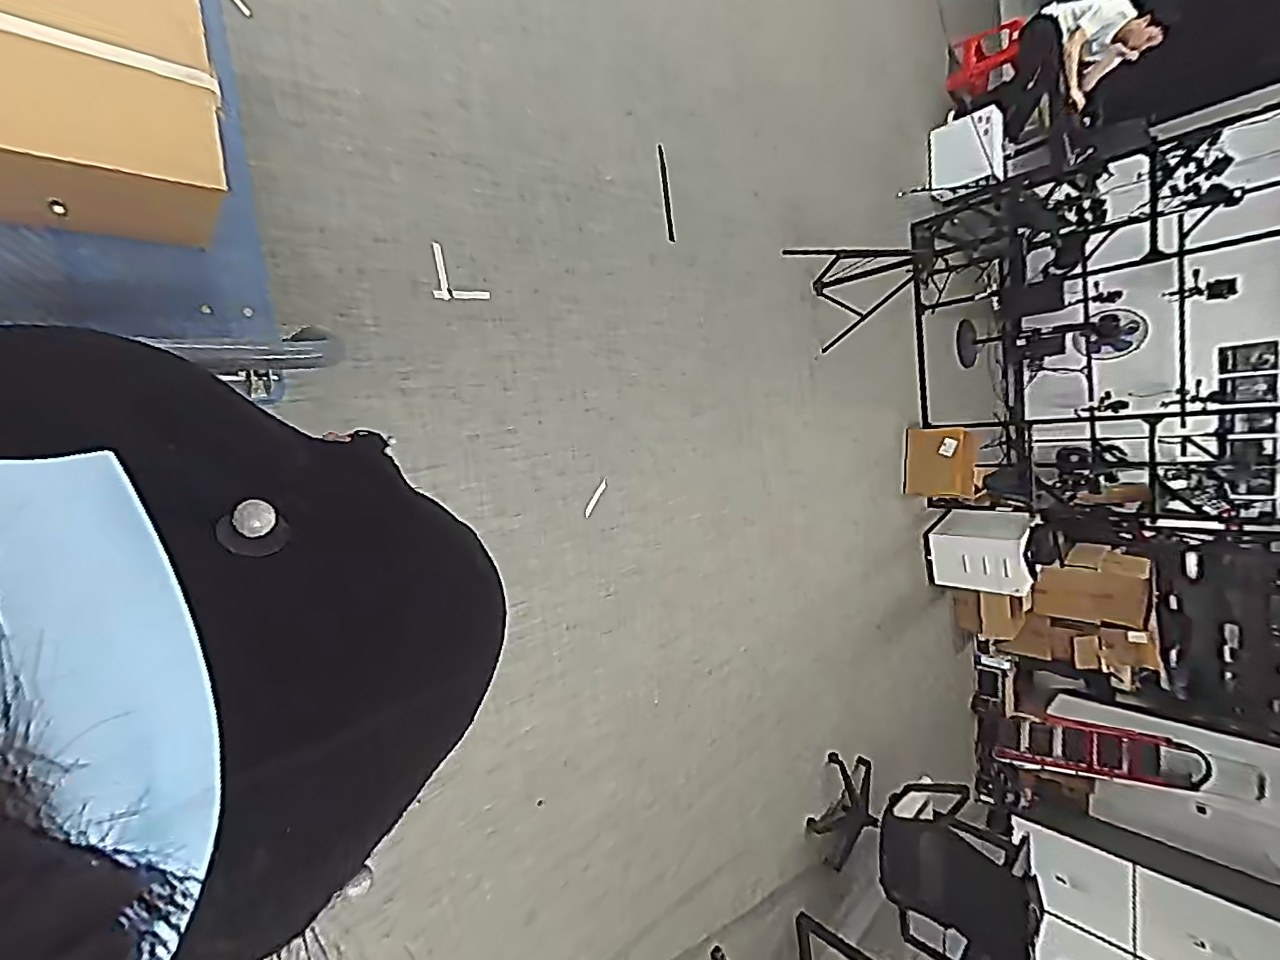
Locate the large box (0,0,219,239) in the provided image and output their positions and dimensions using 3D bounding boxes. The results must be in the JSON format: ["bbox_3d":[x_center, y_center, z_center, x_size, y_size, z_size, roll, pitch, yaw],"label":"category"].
[{"bbox_3d":[-0.917,-0.592,0.814,0.408,0.320,0.320,-9,96,-41],"label":"large box"}]
